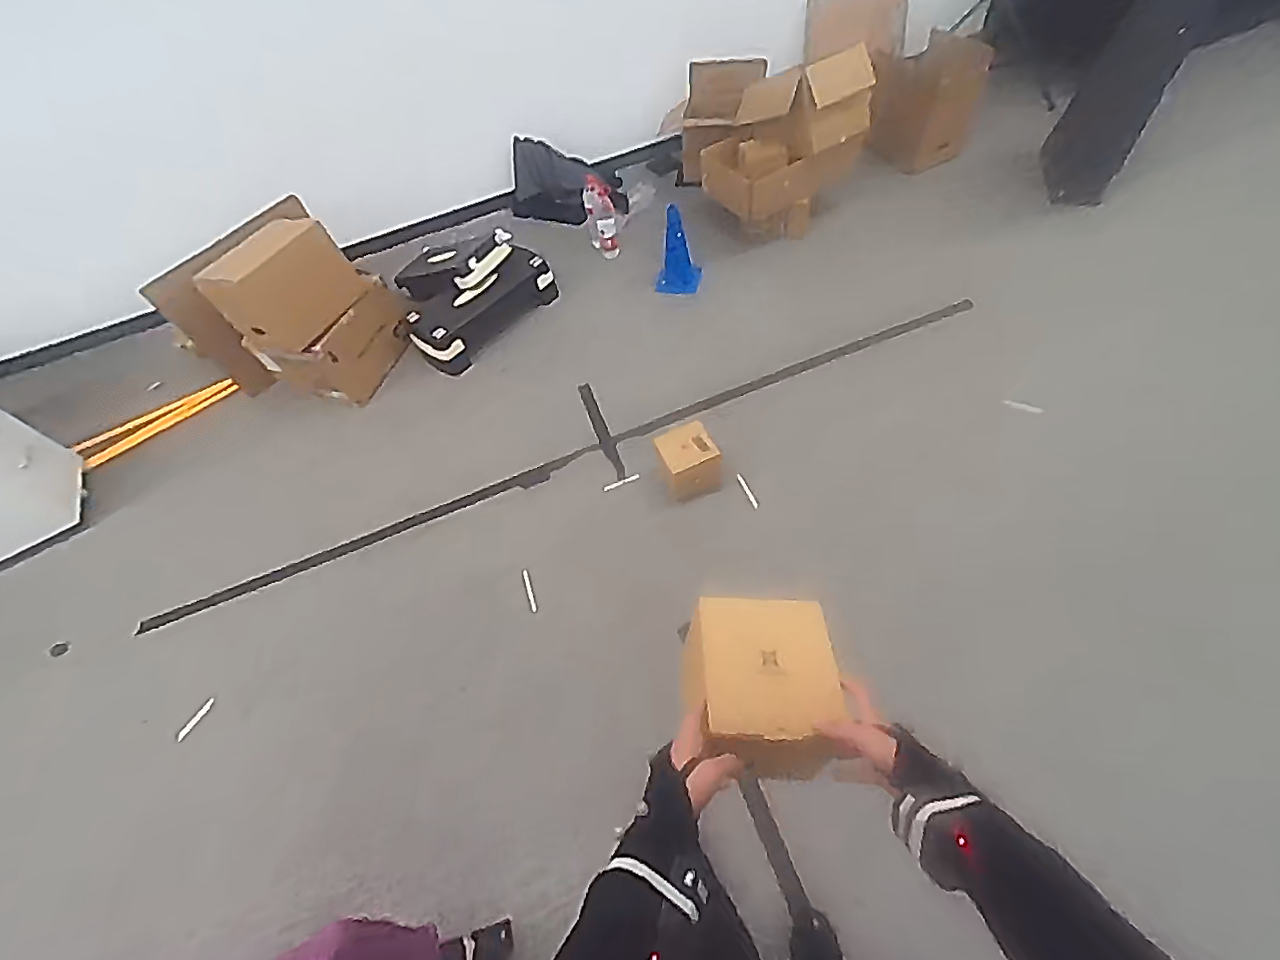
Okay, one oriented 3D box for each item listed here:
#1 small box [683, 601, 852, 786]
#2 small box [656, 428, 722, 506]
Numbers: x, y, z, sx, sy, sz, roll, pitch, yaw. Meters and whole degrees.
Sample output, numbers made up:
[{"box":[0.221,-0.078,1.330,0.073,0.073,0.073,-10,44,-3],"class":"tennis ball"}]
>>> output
[{"box":[0.151,0.283,0.715,0.168,0.176,0.179,3,47,-3],"class":"small box"},{"box":[0.169,-0.042,1.854,0.179,0.176,0.168,-24,55,-6],"class":"small box"}]
